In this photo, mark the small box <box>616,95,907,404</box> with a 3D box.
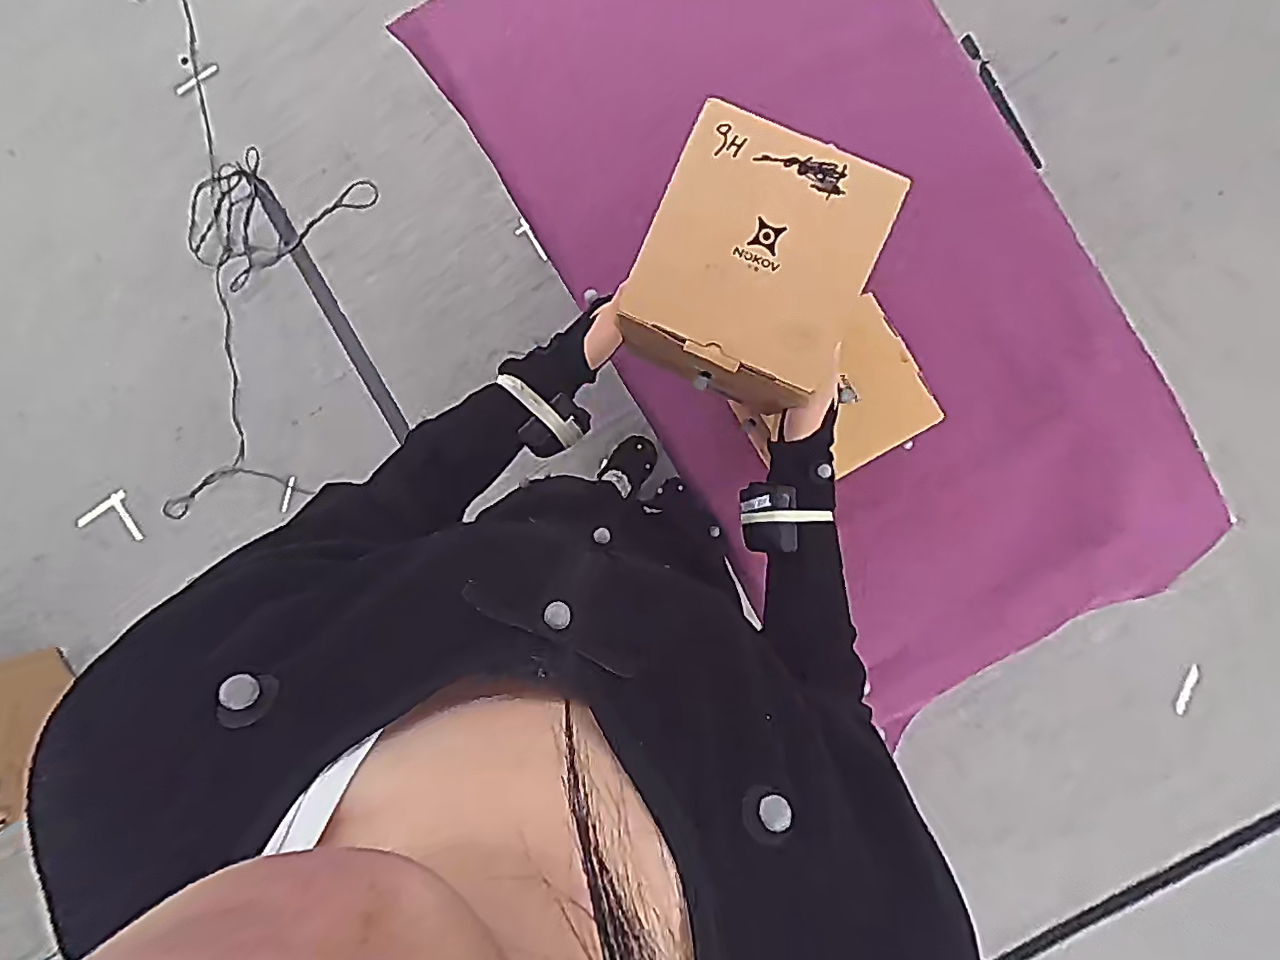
[{"bbox_3d":[0.094,-0.179,0.483,0.168,0.176,0.179,24,94,2],"label":"small box"}]

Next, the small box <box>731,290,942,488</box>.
[{"bbox_3d":[0.227,-0.101,0.684,0.179,0.176,0.168,-31,89,3],"label":"small box"}]
